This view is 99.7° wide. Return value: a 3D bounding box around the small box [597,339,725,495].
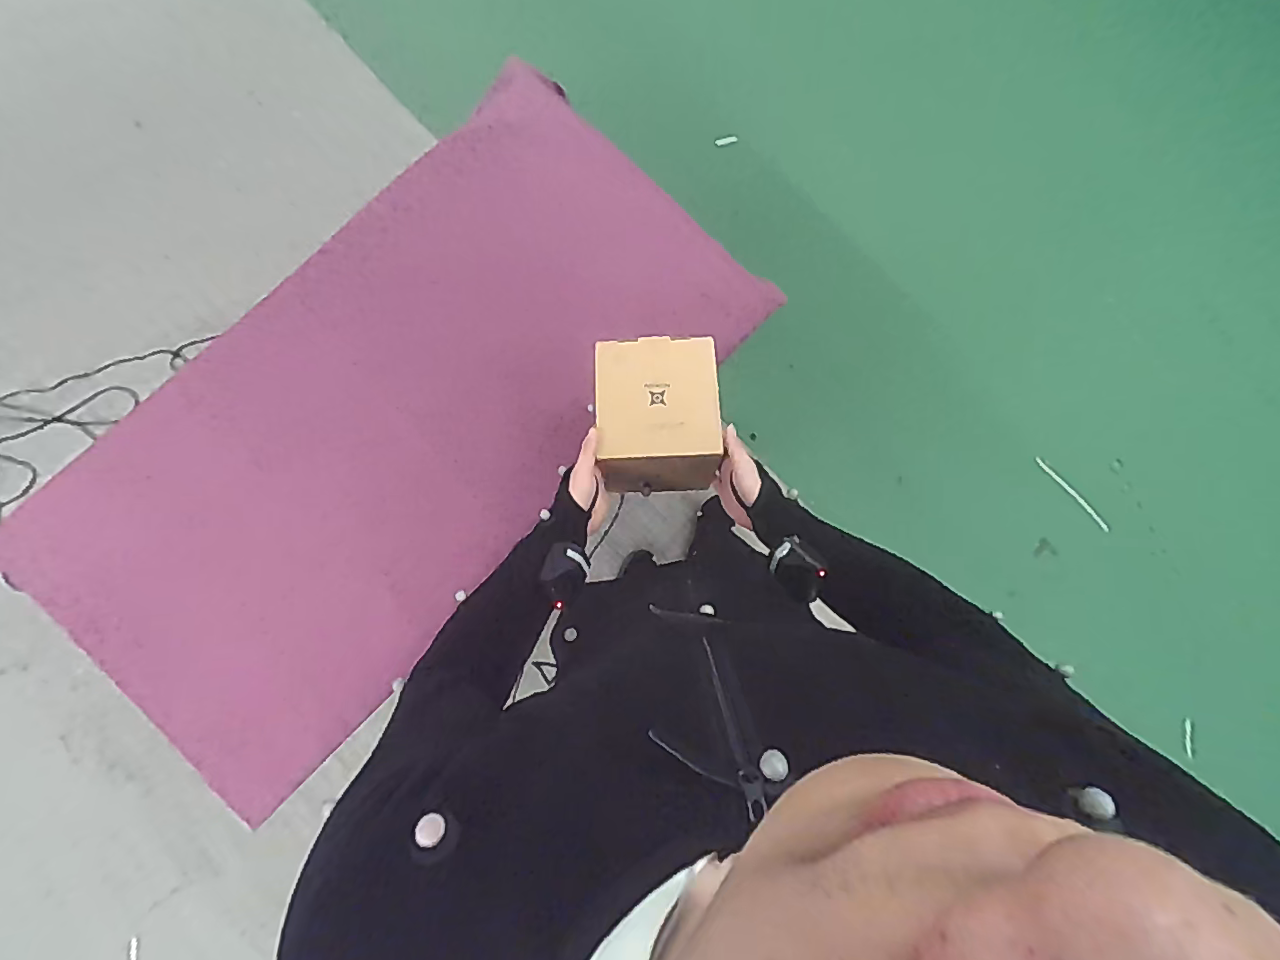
[{"bbox_3d":[0.027,-0.085,0.785,0.168,0.176,0.179,-1,73,1],"label":"small box"}]
